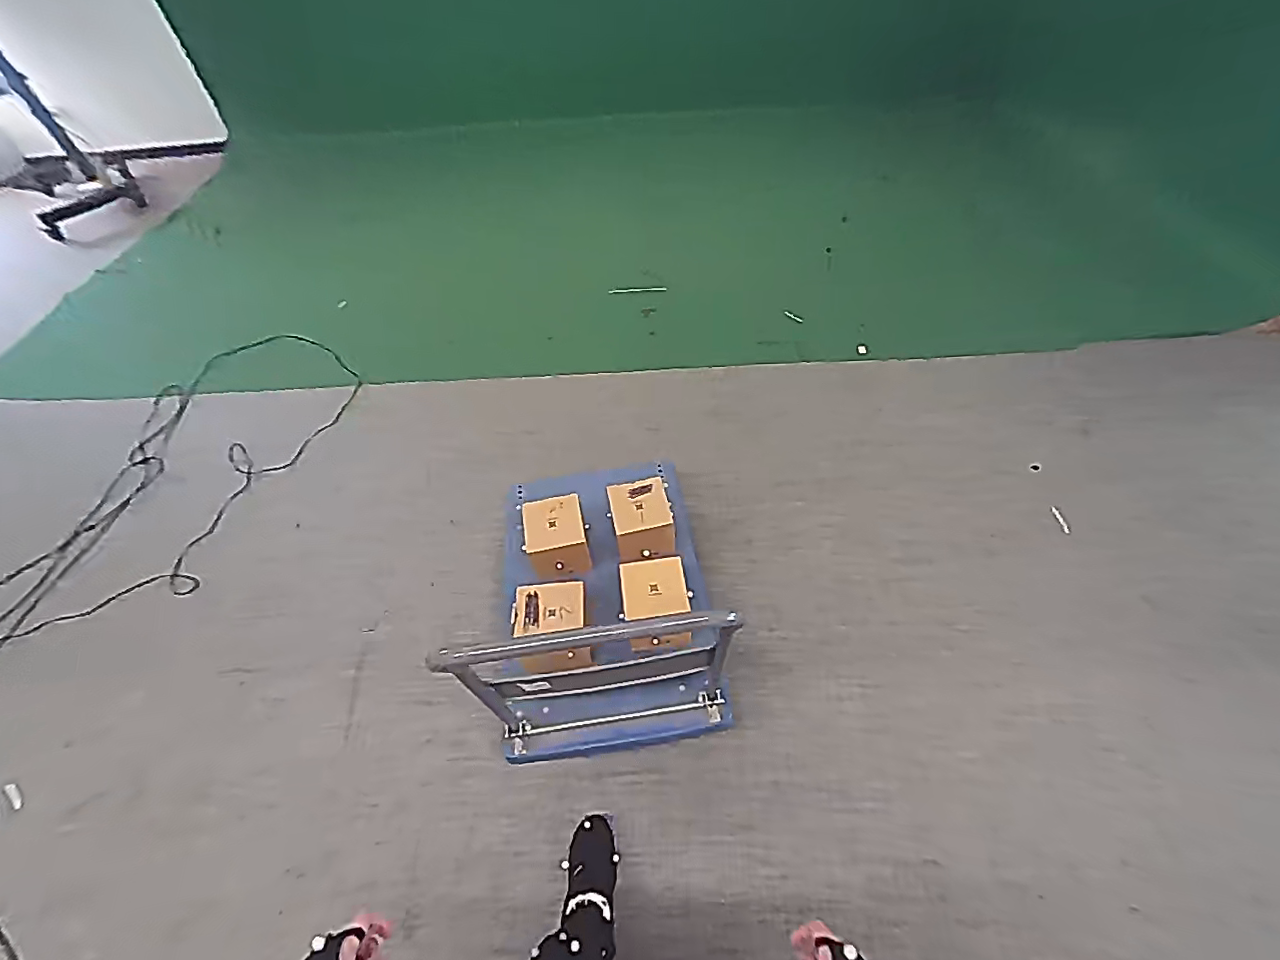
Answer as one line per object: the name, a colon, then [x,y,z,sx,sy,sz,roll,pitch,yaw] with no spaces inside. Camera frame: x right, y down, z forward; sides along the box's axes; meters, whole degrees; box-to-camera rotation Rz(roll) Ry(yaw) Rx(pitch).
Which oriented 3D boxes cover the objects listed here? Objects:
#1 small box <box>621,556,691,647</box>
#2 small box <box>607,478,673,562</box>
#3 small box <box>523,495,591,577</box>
small box: [0.040,0.332,1.467,0.168,0.176,0.179,-8,52,-2]
small box: [0.001,0.122,1.633,0.168,0.176,0.179,-12,53,-4]
small box: [-0.245,0.173,1.612,0.168,0.176,0.179,-11,52,-5]
